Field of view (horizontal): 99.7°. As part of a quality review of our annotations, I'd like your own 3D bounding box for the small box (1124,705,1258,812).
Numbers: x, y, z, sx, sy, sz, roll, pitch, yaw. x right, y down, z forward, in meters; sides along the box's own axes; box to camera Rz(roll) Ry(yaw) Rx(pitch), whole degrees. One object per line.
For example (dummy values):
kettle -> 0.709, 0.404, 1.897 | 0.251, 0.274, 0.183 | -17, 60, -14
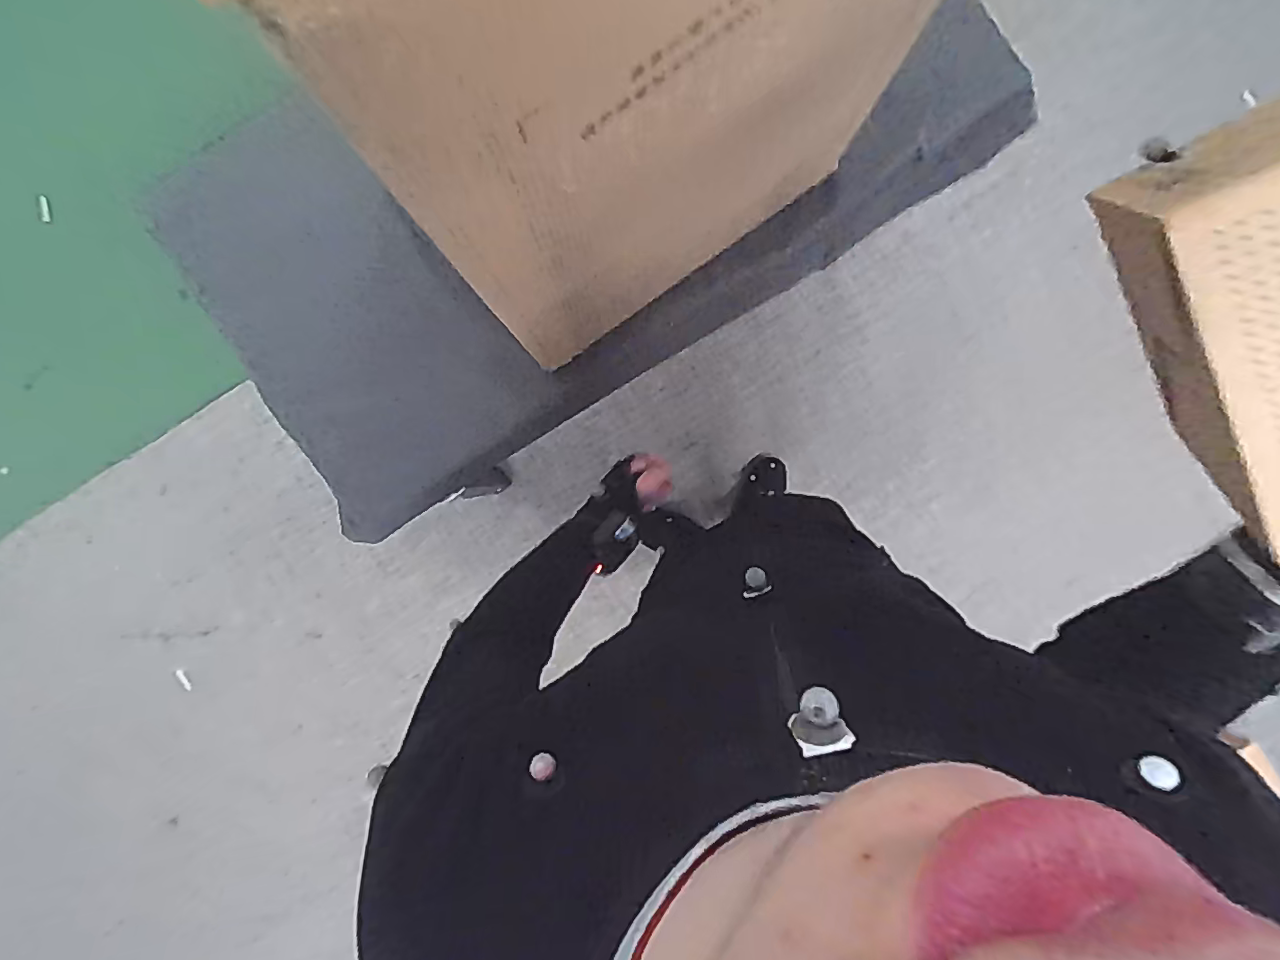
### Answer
small box -> 1.560, 0.784, 1.542 | 0.168, 0.176, 0.179 | -35, 91, -2
